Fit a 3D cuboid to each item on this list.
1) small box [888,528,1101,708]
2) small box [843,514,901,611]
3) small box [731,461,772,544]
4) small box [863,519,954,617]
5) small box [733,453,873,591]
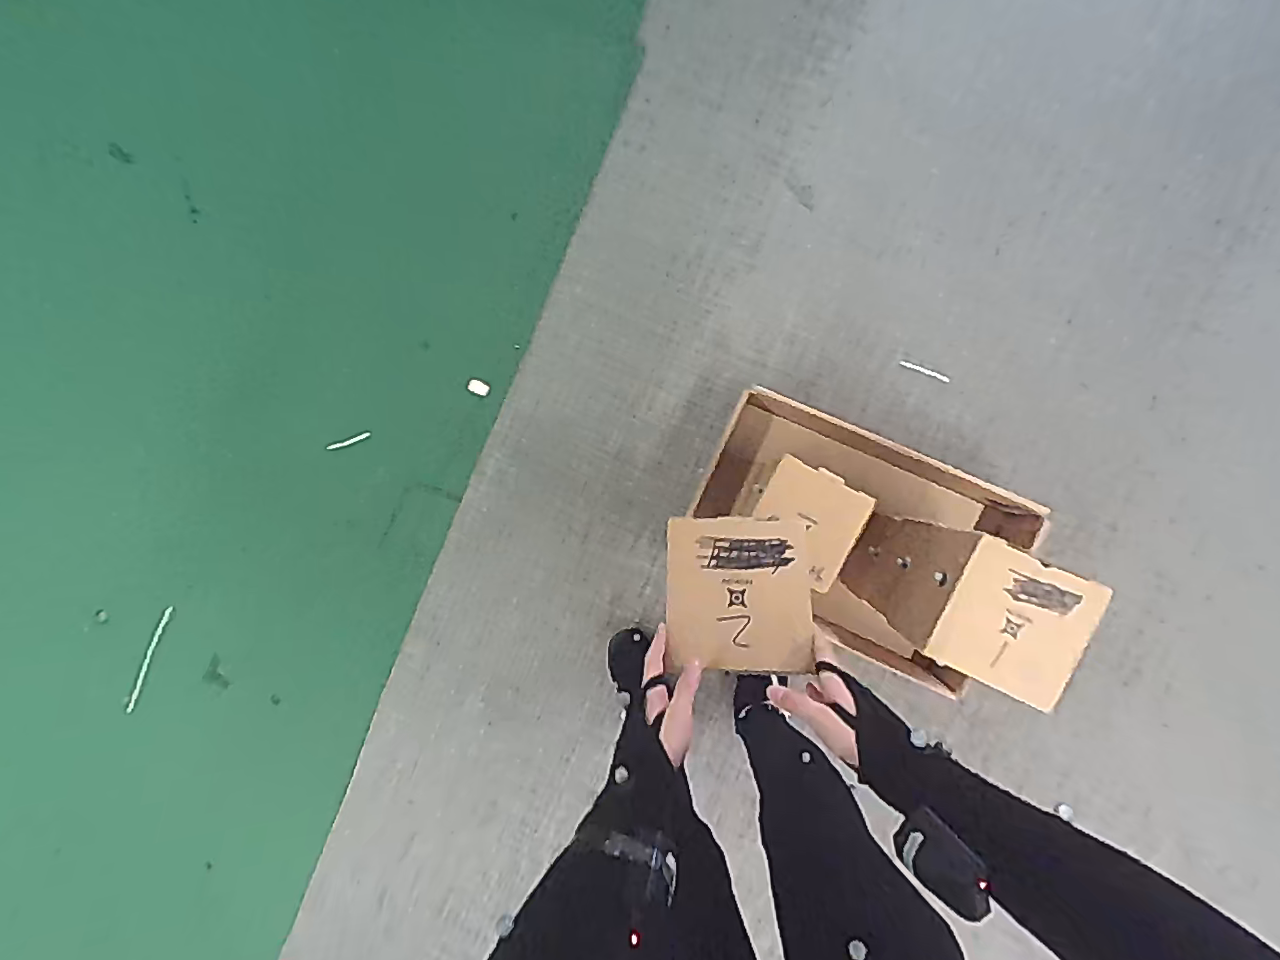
[{"bbox_3d":[0.486,0.181,0.776,0.168,0.176,0.179,26,94,8],"label":"small box"},{"bbox_3d":[0.534,0.182,1.100,0.168,0.176,0.179,25,93,7],"label":"small box"},{"bbox_3d":[0.298,0.072,1.126,0.168,0.176,0.179,24,93,5],"label":"small box"},{"bbox_3d":[0.513,0.178,0.938,0.168,0.176,0.179,27,94,8],"label":"small box"},{"bbox_3d":[0.276,0.069,0.963,0.168,0.176,0.179,29,93,6],"label":"small box"}]
